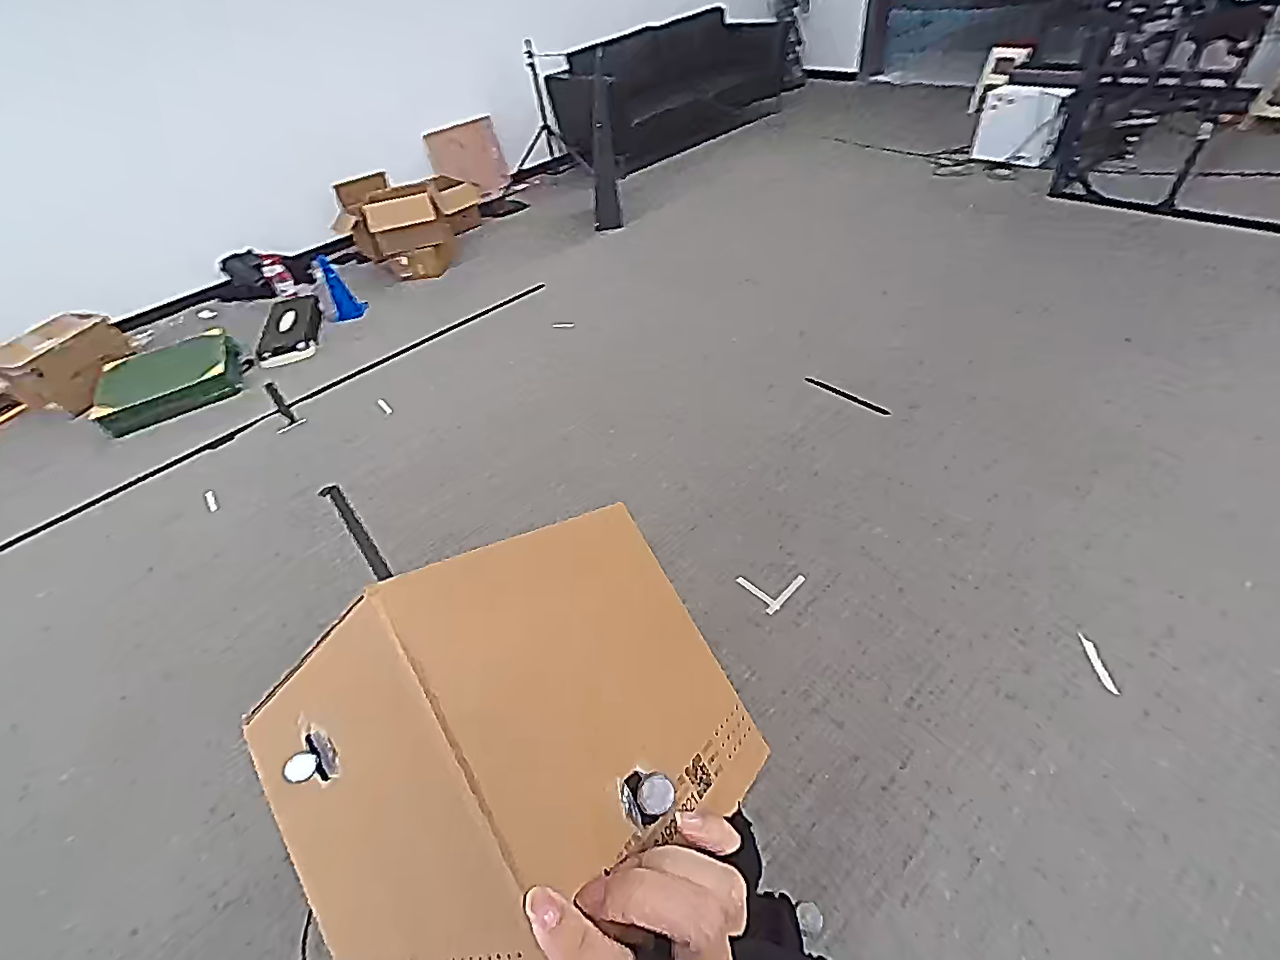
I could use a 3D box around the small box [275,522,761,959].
[{"bbox_3d":[-0.066,0.152,0.310,0.168,0.179,0.176,-17,72,-56],"label":"small box"}]
